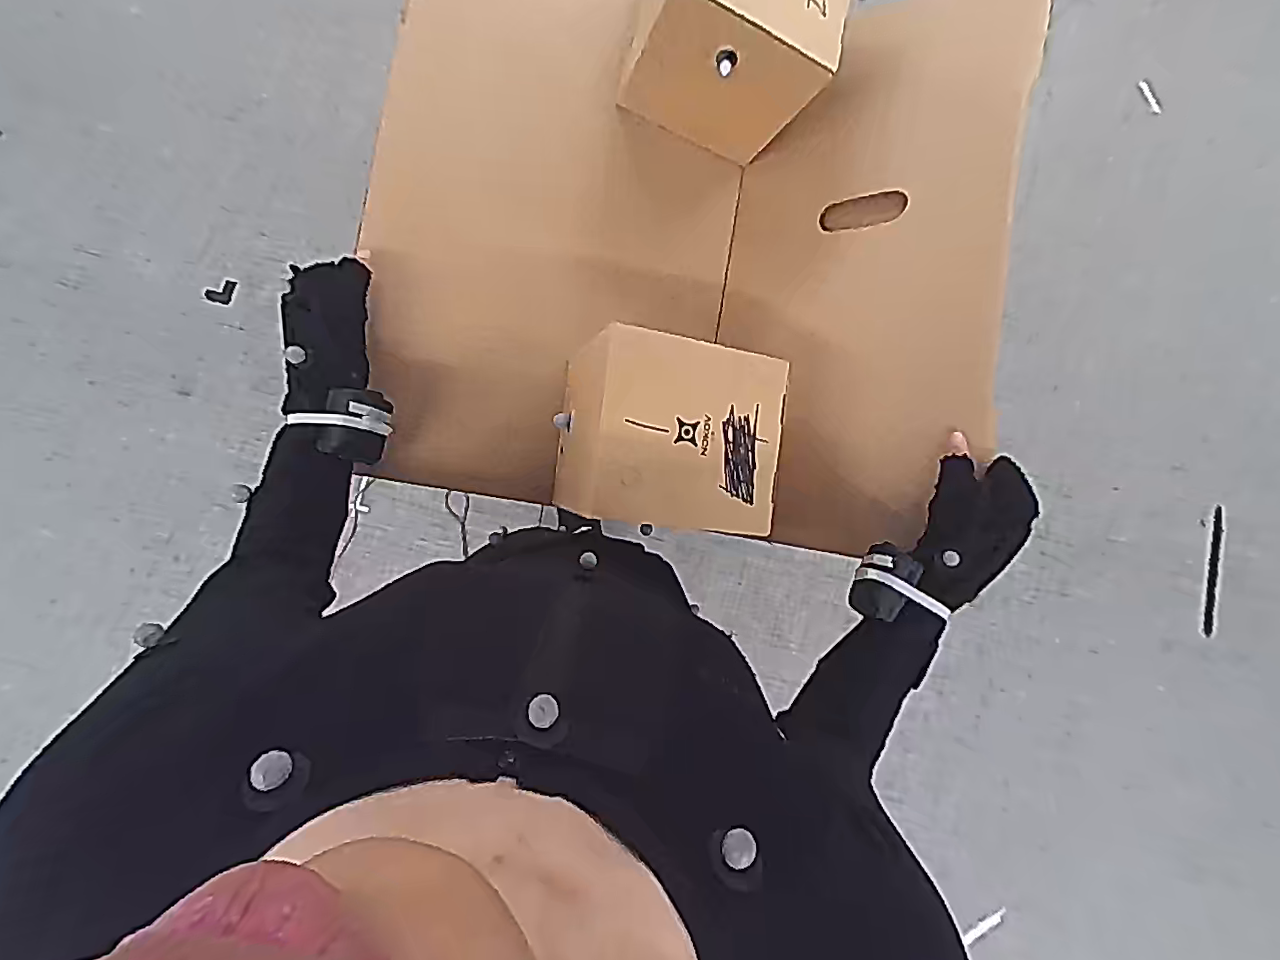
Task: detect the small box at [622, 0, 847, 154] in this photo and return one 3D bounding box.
[{"bbox_3d":[0.095,-0.490,0.570,0.179,0.176,0.168,14,86,-20],"label":"small box"}]
